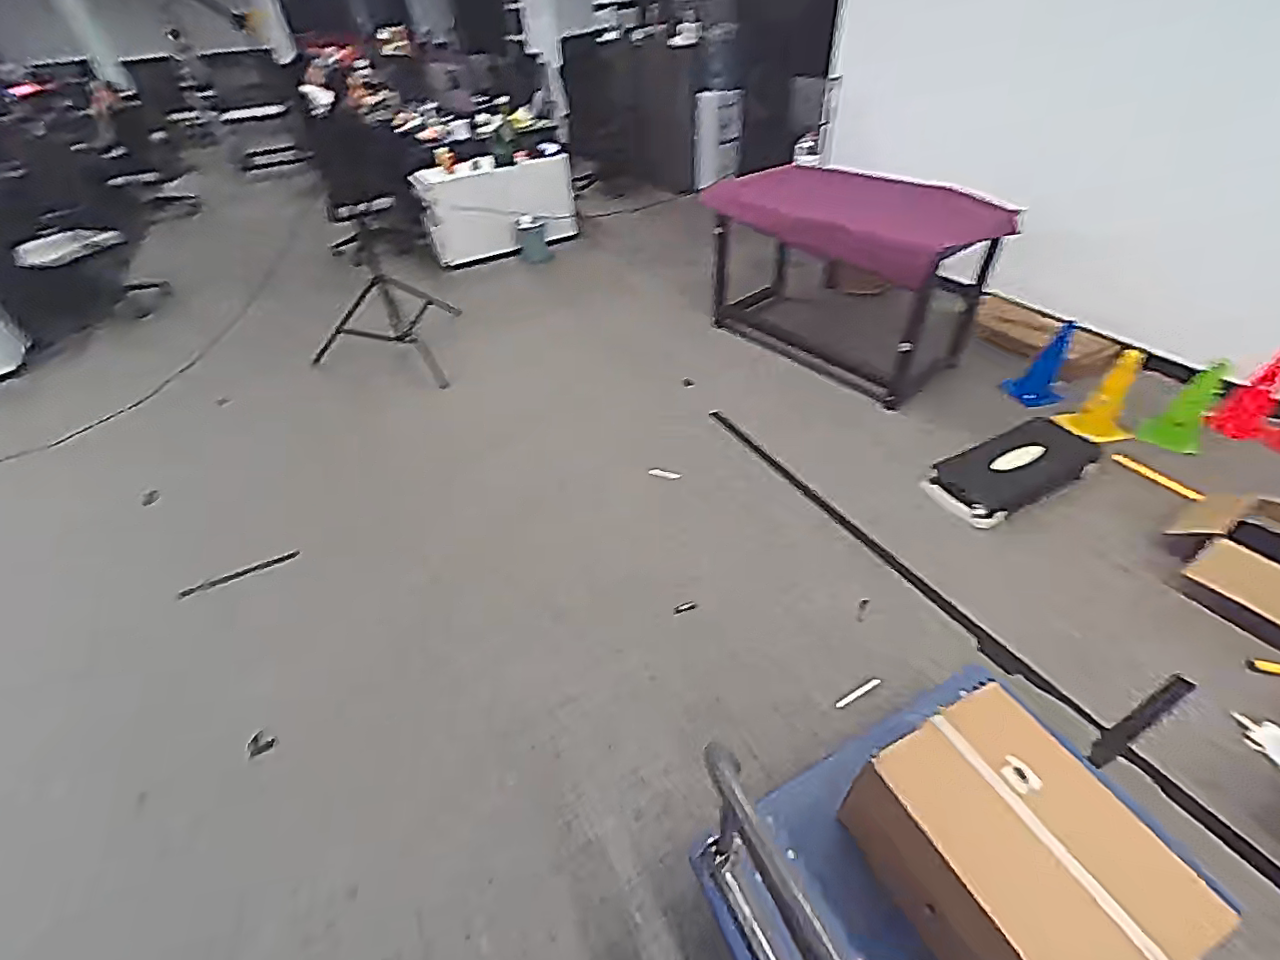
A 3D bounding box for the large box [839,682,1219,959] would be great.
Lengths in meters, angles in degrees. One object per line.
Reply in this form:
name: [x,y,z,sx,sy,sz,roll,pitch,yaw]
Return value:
large box: [0.635,0.668,0.974,0.320,0.320,0.408,-20,44,-17]
